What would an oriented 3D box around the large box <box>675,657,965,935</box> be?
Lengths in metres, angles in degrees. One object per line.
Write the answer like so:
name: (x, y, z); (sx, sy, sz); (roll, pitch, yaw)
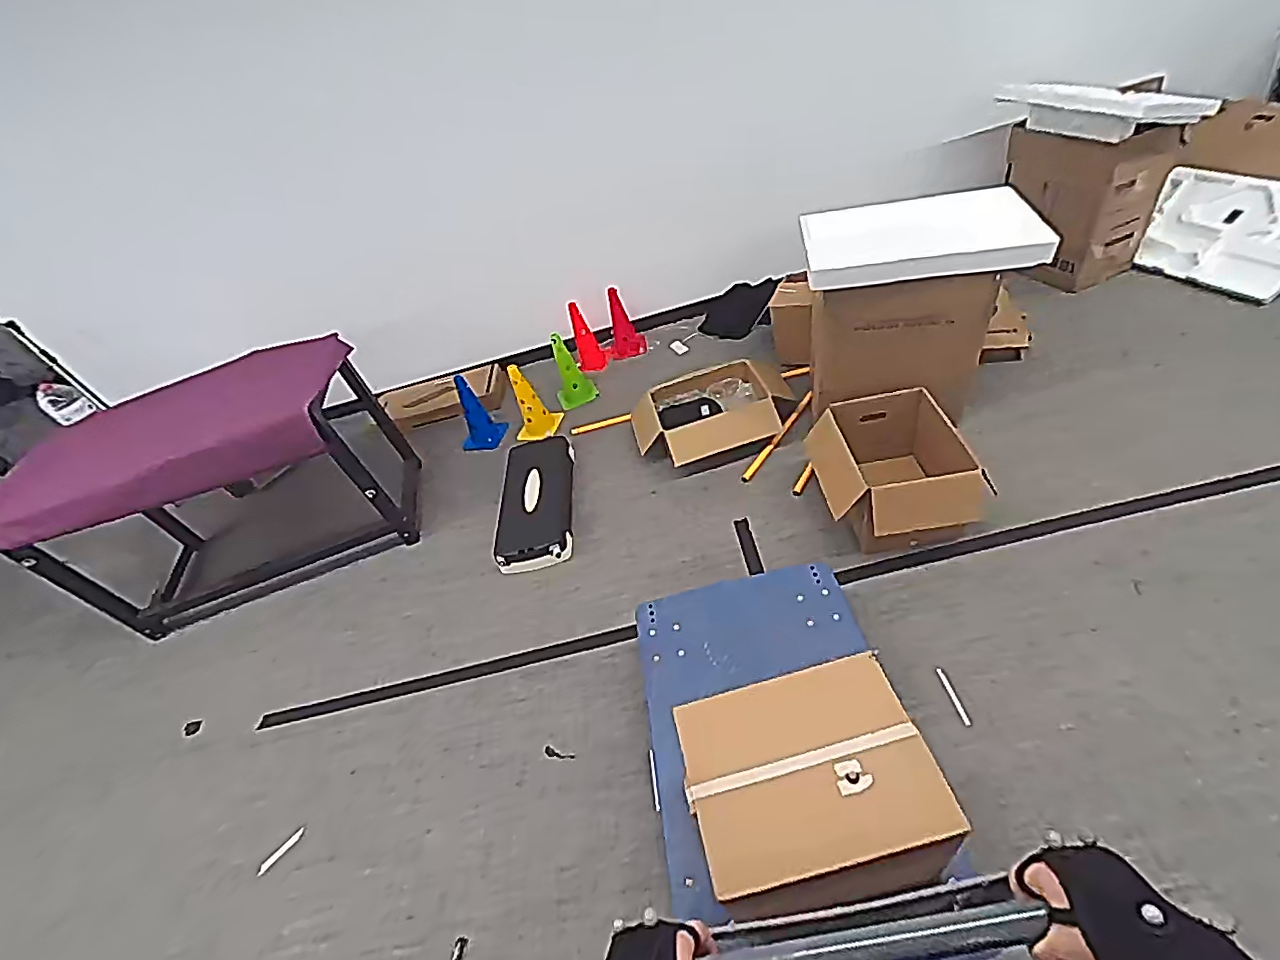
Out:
large box: (0.314, 0.605, 1.037); (0.408, 0.320, 0.320); (-16, 43, 0)
